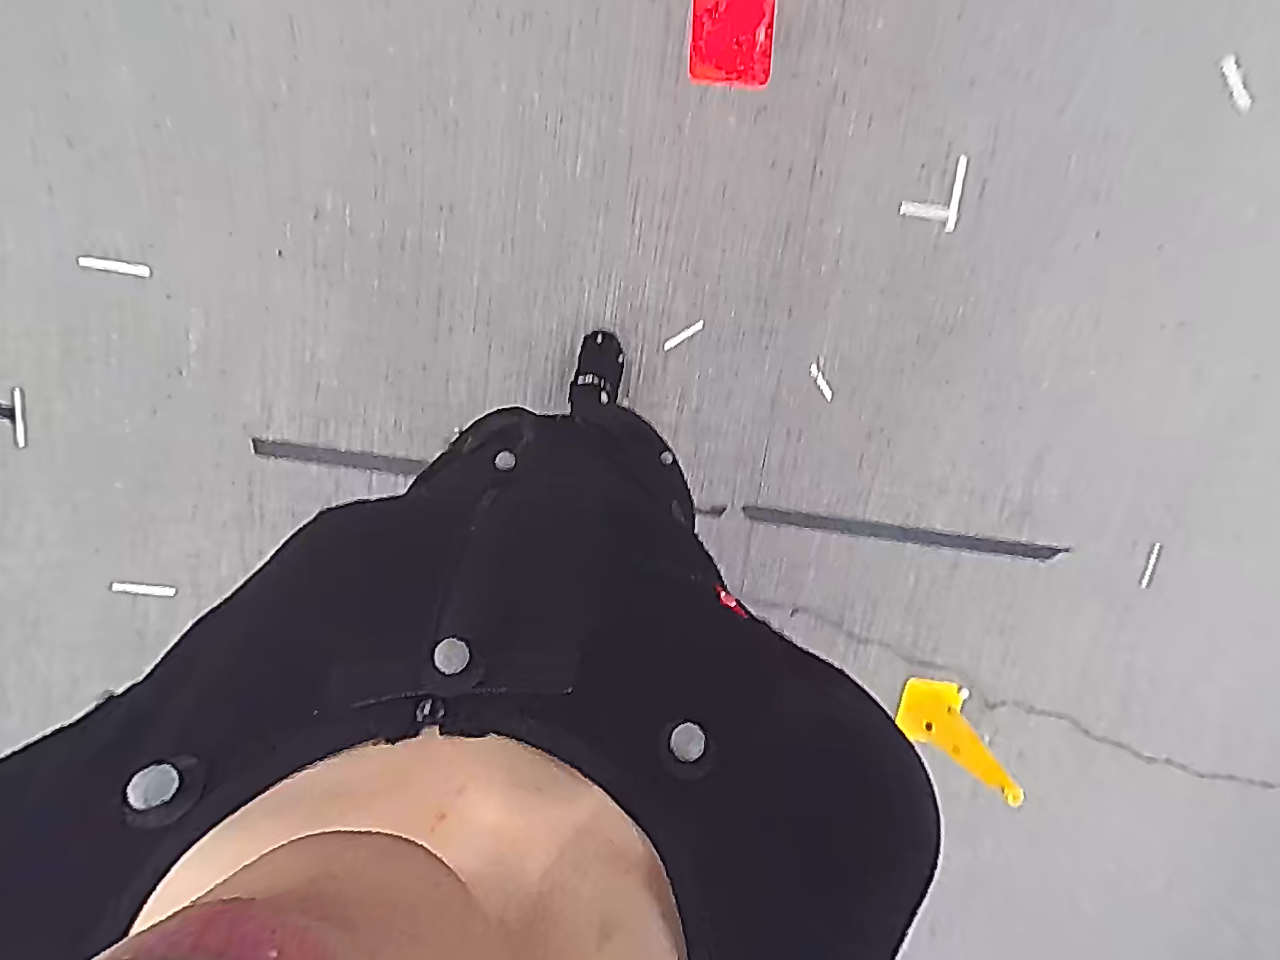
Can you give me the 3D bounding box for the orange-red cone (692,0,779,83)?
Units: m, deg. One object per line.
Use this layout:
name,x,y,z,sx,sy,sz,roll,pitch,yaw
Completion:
orange-red cone,0.235,-1.020,1.104,0.199,0.360,0.198,3,100,-4
